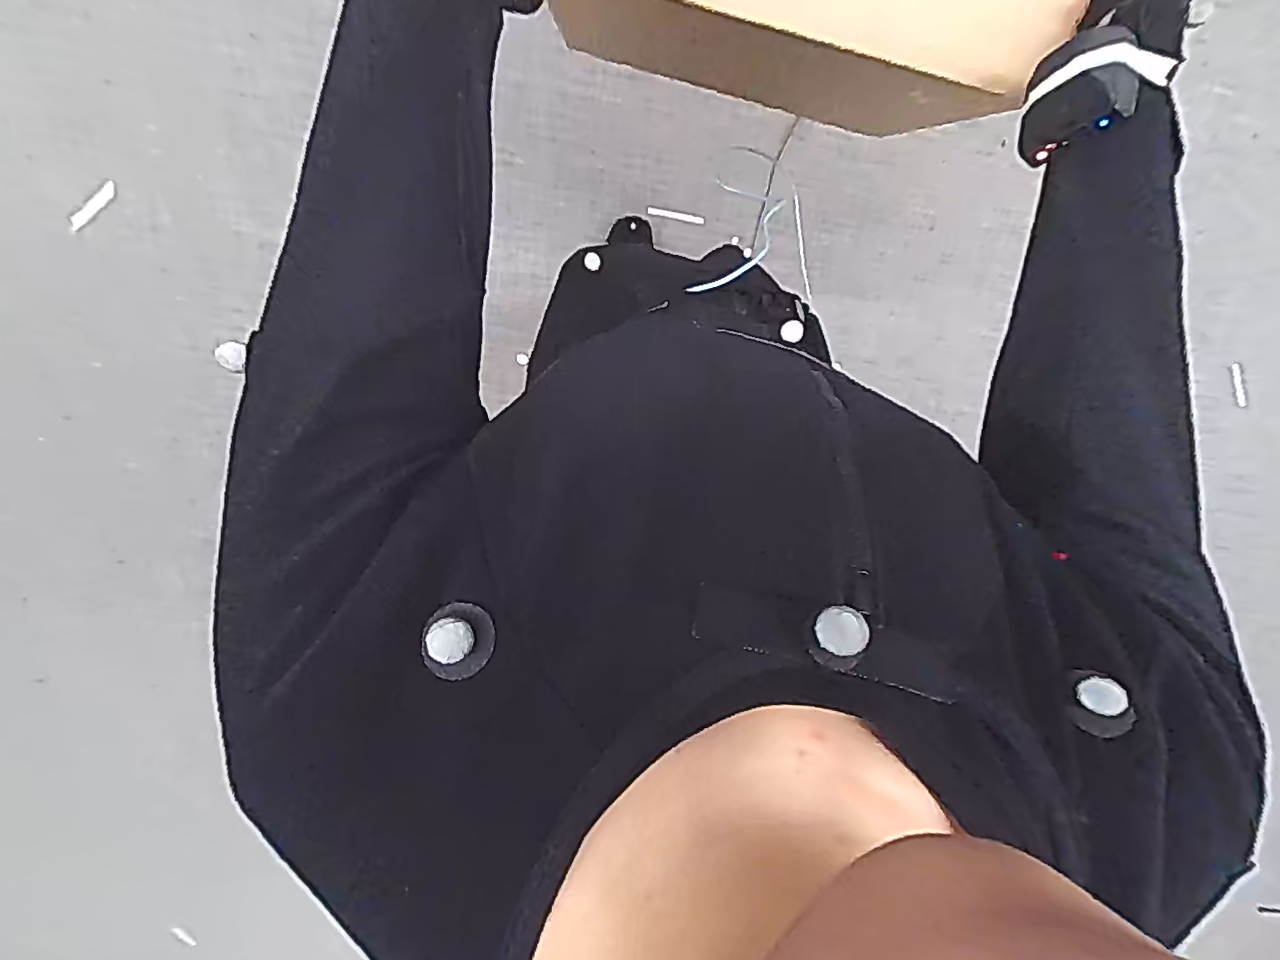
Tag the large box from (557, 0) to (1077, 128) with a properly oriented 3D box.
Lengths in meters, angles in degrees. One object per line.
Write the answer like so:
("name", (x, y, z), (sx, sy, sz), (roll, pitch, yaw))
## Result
("large box", (0.145, -0.539, 0.460), (0.408, 0.320, 0.320), (11, 119, -7))
